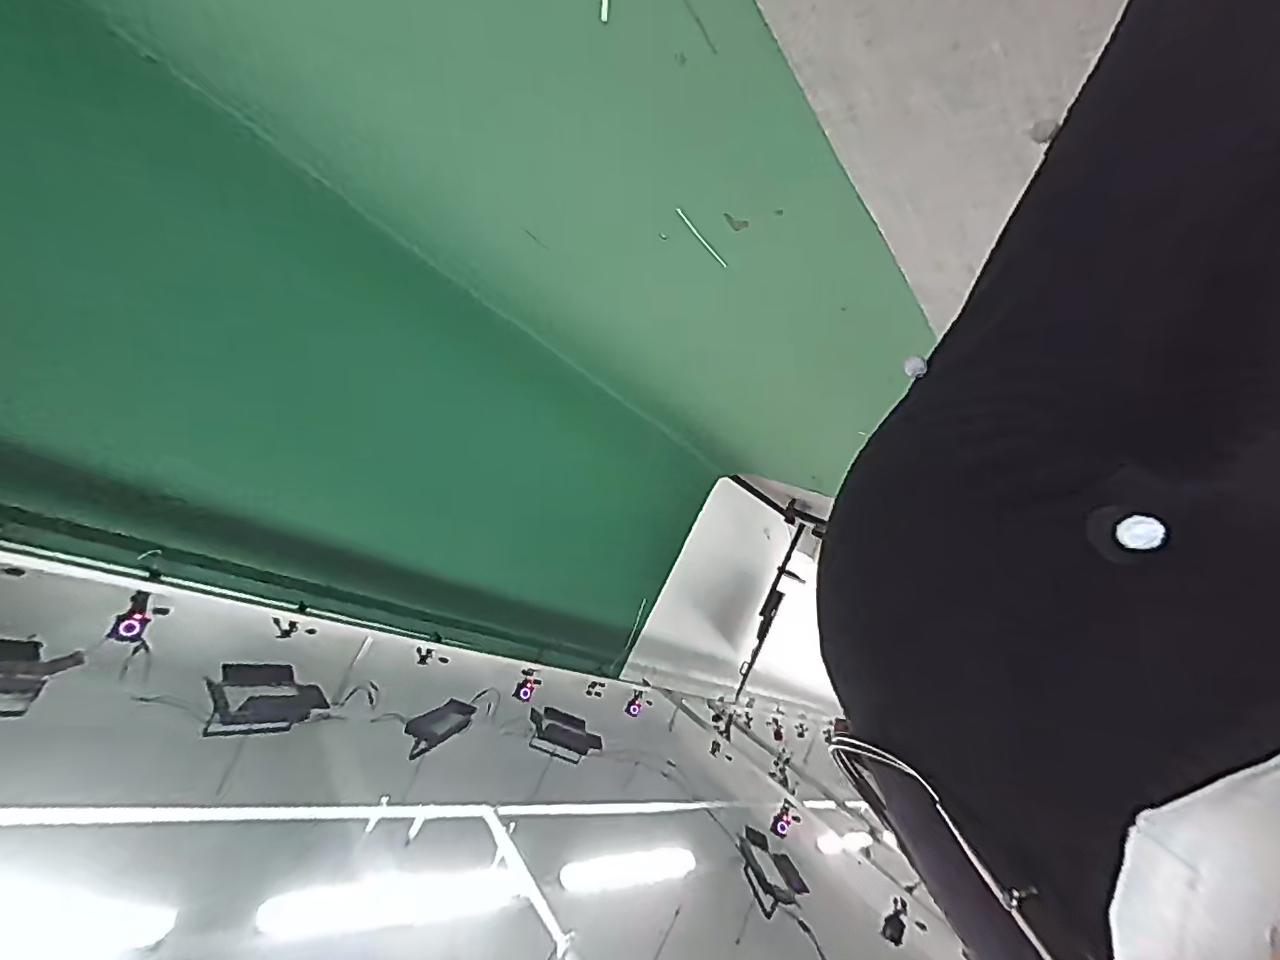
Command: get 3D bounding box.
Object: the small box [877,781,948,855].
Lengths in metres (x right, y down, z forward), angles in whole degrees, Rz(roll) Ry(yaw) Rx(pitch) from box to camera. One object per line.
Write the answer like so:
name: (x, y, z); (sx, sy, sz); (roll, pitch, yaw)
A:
small box: (1.015, 1.247, 2.007); (0.168, 0.176, 0.179); (22, 174, 45)

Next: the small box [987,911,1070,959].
small box: (1.201, 1.497, 1.673); (0.168, 0.176, 0.179); (29, 176, -42)
